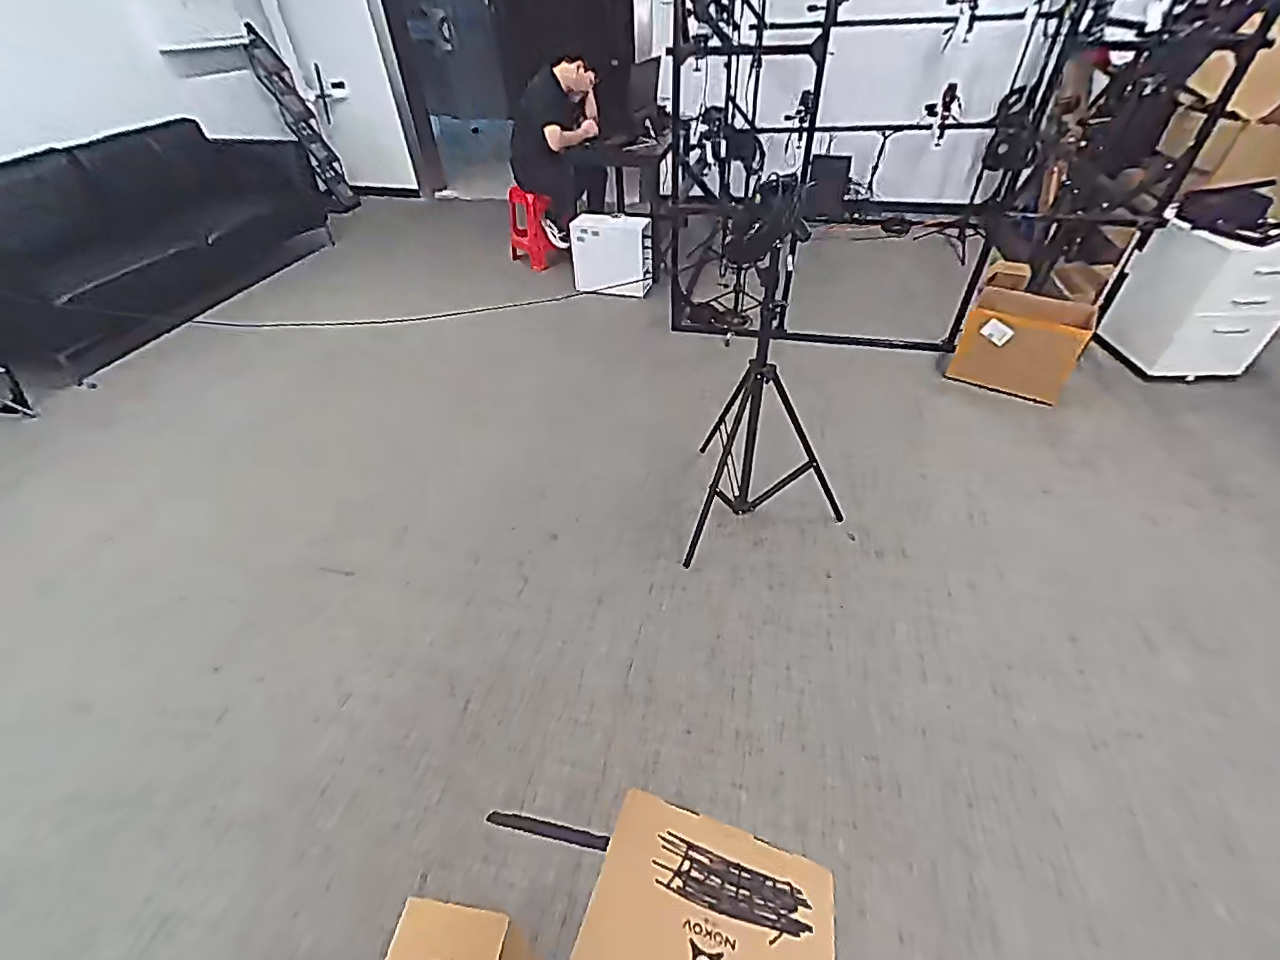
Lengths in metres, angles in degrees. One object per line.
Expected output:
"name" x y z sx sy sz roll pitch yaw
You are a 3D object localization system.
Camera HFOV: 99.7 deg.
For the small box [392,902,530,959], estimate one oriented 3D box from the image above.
"small box" -0.289 0.798 0.849 0.179 0.176 0.168 4 41 7
